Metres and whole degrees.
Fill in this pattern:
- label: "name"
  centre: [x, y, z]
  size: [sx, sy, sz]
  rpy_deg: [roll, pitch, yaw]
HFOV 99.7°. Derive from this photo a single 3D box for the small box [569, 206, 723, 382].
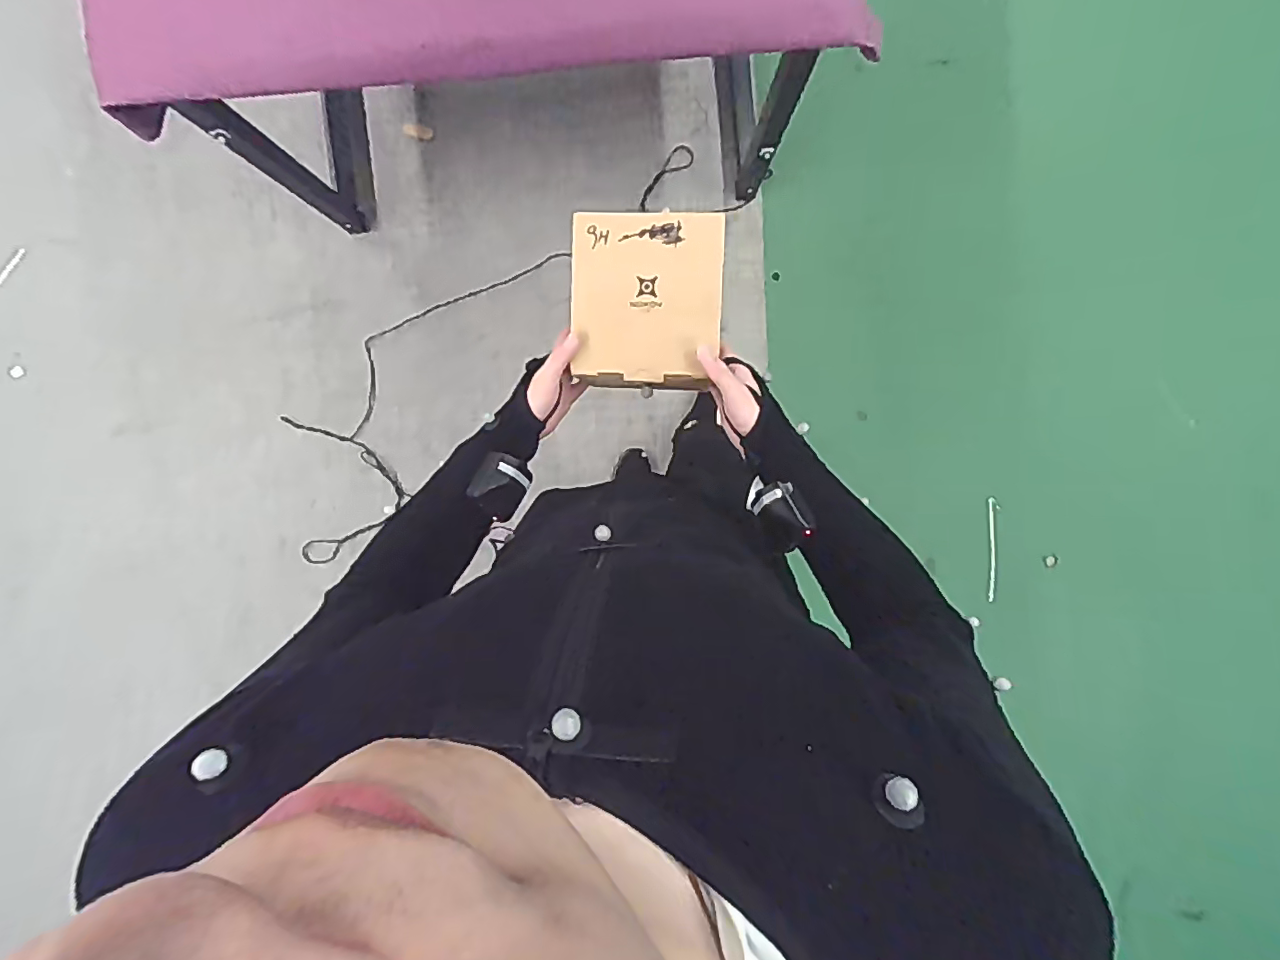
- label: "small box"
  centre: [0.012, -0.213, 0.661]
  size: [0.168, 0.176, 0.179]
  rpy_deg: [2, 97, 5]
